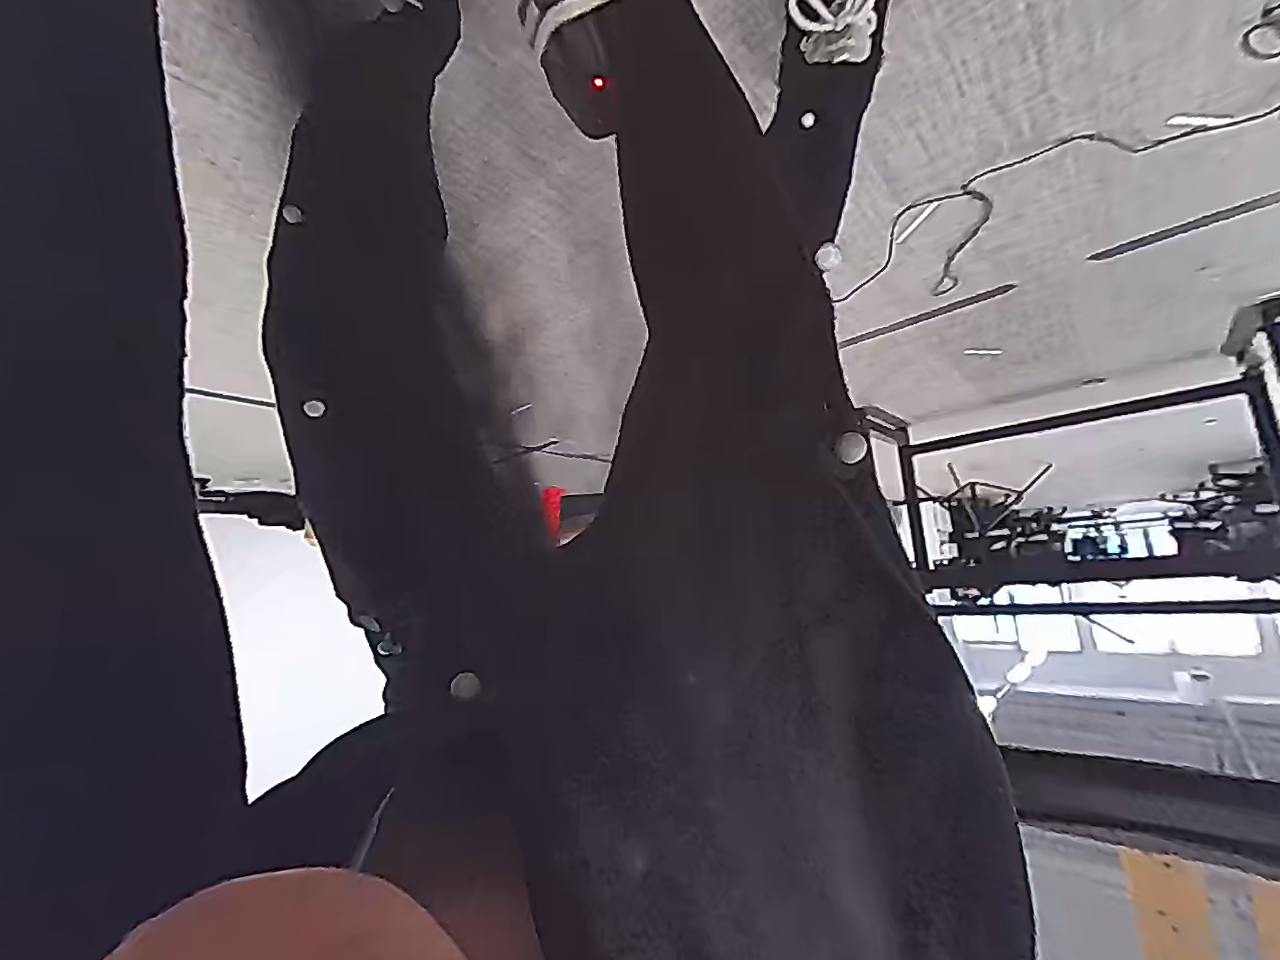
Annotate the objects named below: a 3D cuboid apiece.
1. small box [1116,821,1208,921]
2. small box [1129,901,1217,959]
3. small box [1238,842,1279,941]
[{"bbox_3d":[1.527,1.132,1.590,0.168,0.176,0.179,-14,167,41],"label":"small box"},{"bbox_3d":[1.541,1.295,1.567,0.168,0.176,0.179,-13,167,40],"label":"small box"},{"bbox_3d":[1.709,1.089,1.415,0.168,0.176,0.179,-13,169,44],"label":"small box"}]
